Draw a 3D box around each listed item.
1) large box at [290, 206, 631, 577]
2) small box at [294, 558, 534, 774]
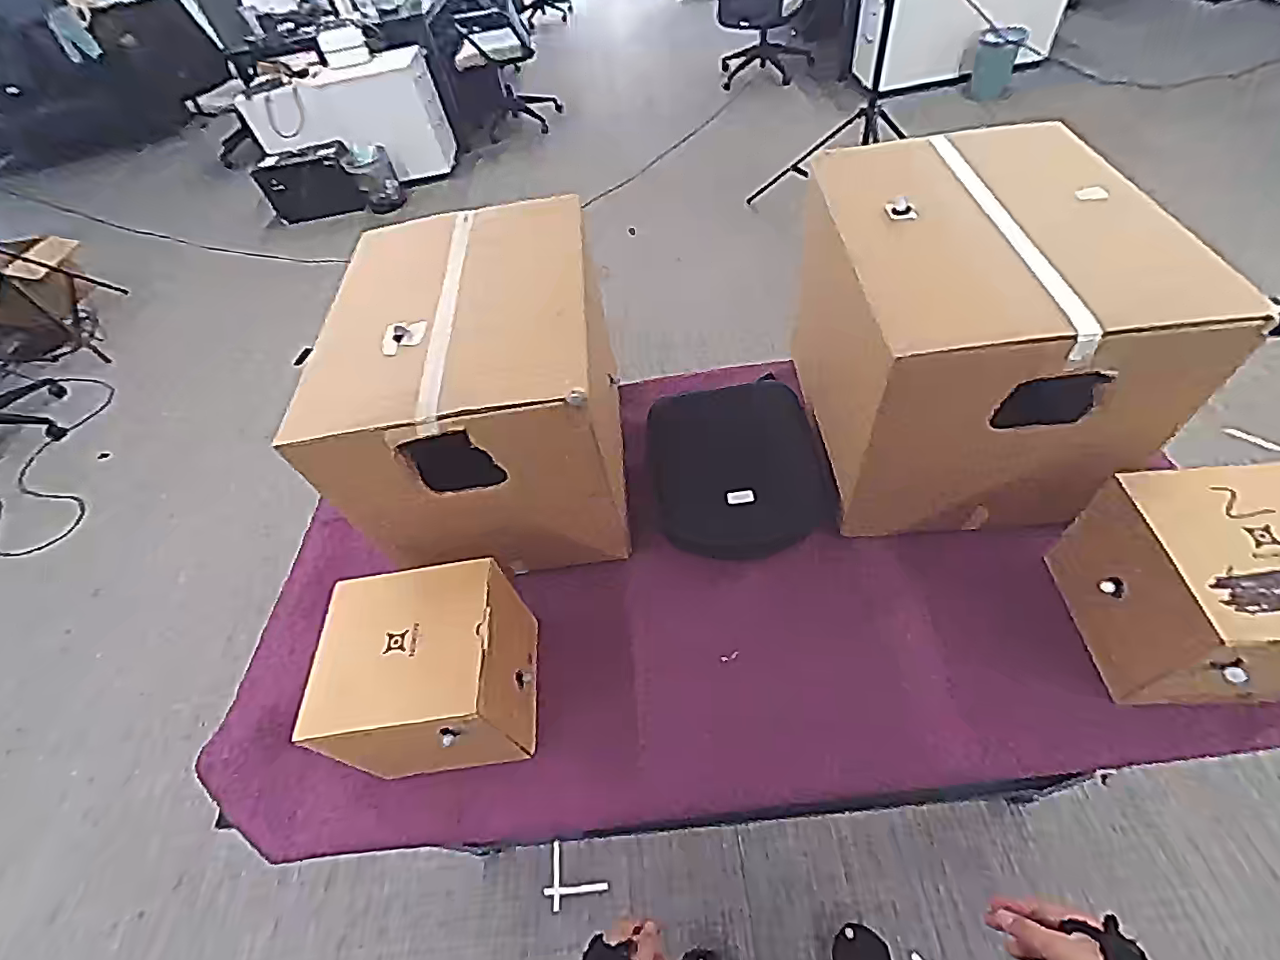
[{"bbox_3d":[-0.199,-0.113,0.757,0.320,0.320,0.408,-10,54,3],"label":"large box"},{"bbox_3d":[-0.228,0.211,0.599,0.179,0.176,0.168,-10,51,1],"label":"small box"}]
